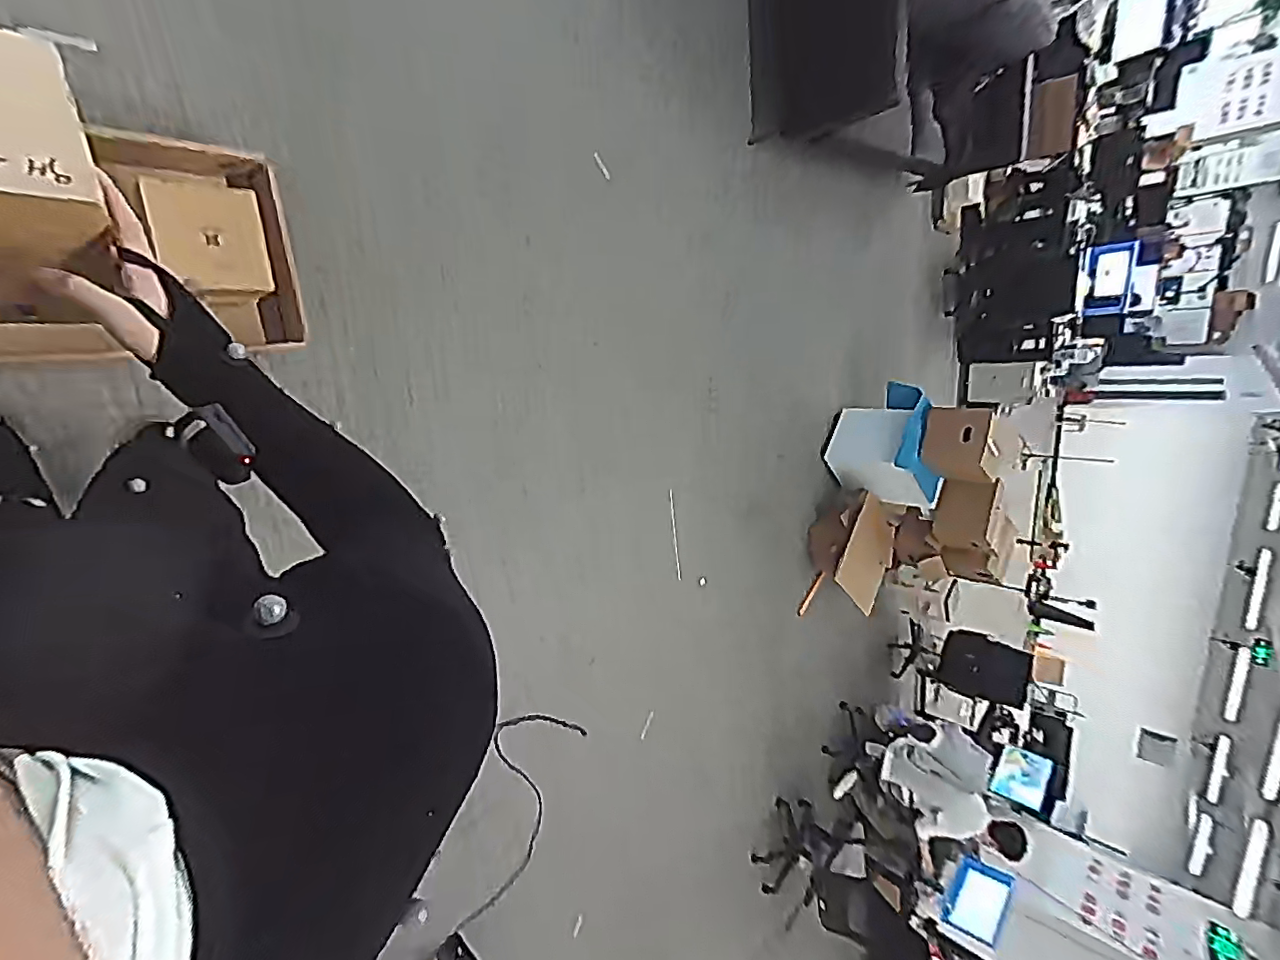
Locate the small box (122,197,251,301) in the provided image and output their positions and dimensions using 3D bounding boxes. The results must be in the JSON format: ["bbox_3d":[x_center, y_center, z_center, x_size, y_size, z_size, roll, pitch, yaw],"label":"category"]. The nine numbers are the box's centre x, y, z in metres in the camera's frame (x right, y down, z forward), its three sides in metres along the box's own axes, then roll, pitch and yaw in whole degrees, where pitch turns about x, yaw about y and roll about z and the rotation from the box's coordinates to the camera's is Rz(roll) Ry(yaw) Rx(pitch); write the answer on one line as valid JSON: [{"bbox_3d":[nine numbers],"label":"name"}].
[{"bbox_3d":[-0.946,-0.472,1.131,0.168,0.176,0.179,-20,111,-43],"label":"small box"}]

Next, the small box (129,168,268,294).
[{"bbox_3d":[-0.830,-0.455,1.016,0.168,0.176,0.179,-16,109,-42],"label":"small box"}]

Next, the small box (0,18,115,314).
[{"bbox_3d":[-0.576,-0.265,0.454,0.168,0.176,0.179,-16,78,-45],"label":"small box"}]
